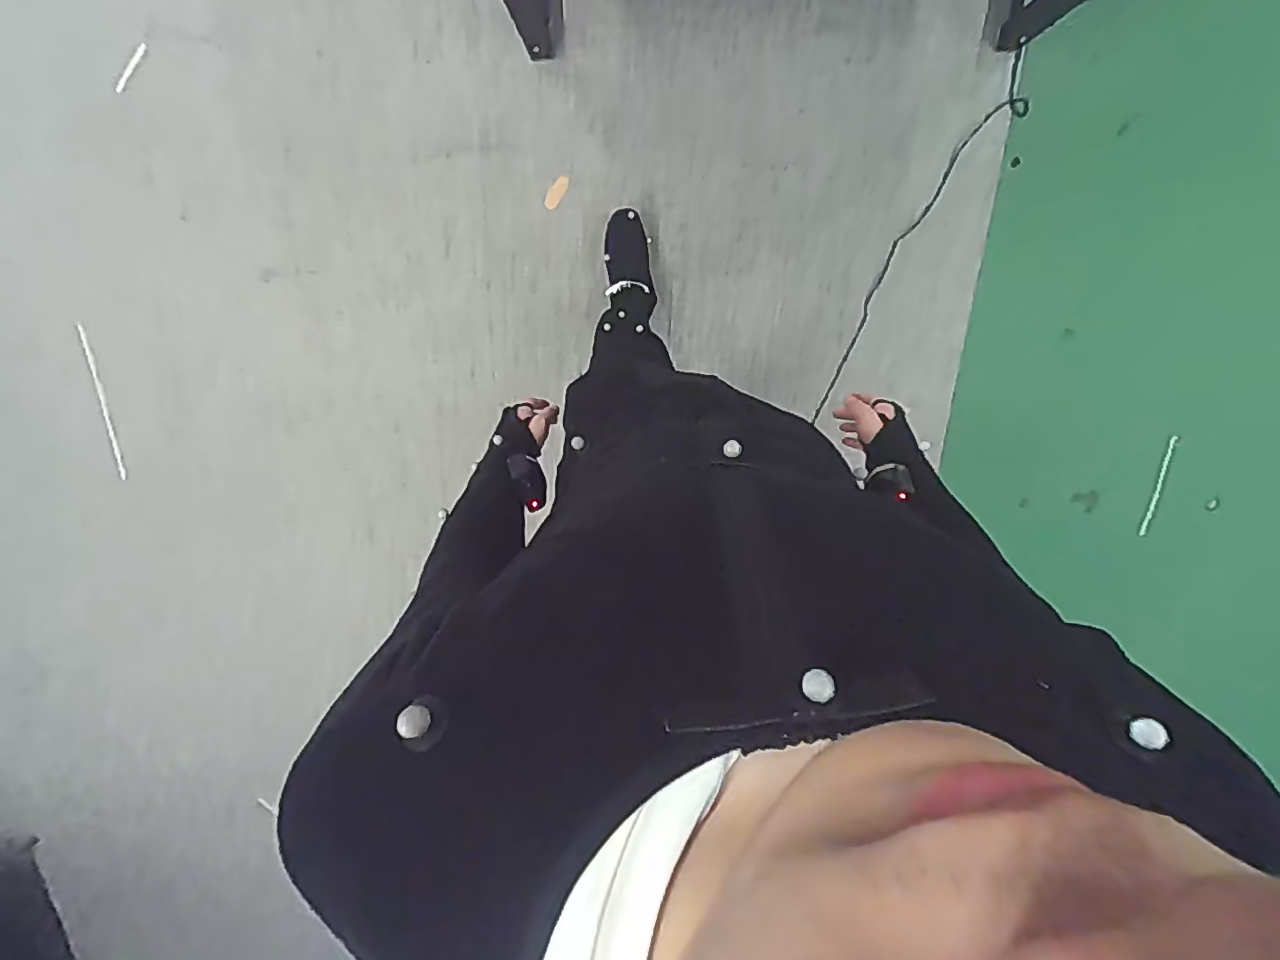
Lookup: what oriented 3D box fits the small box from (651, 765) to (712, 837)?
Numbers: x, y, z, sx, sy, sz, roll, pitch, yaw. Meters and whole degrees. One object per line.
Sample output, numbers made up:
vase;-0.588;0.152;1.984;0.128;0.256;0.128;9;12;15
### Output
small box;0.140;1.125;1.875;0.179;0.176;0.168;10;107;-1
